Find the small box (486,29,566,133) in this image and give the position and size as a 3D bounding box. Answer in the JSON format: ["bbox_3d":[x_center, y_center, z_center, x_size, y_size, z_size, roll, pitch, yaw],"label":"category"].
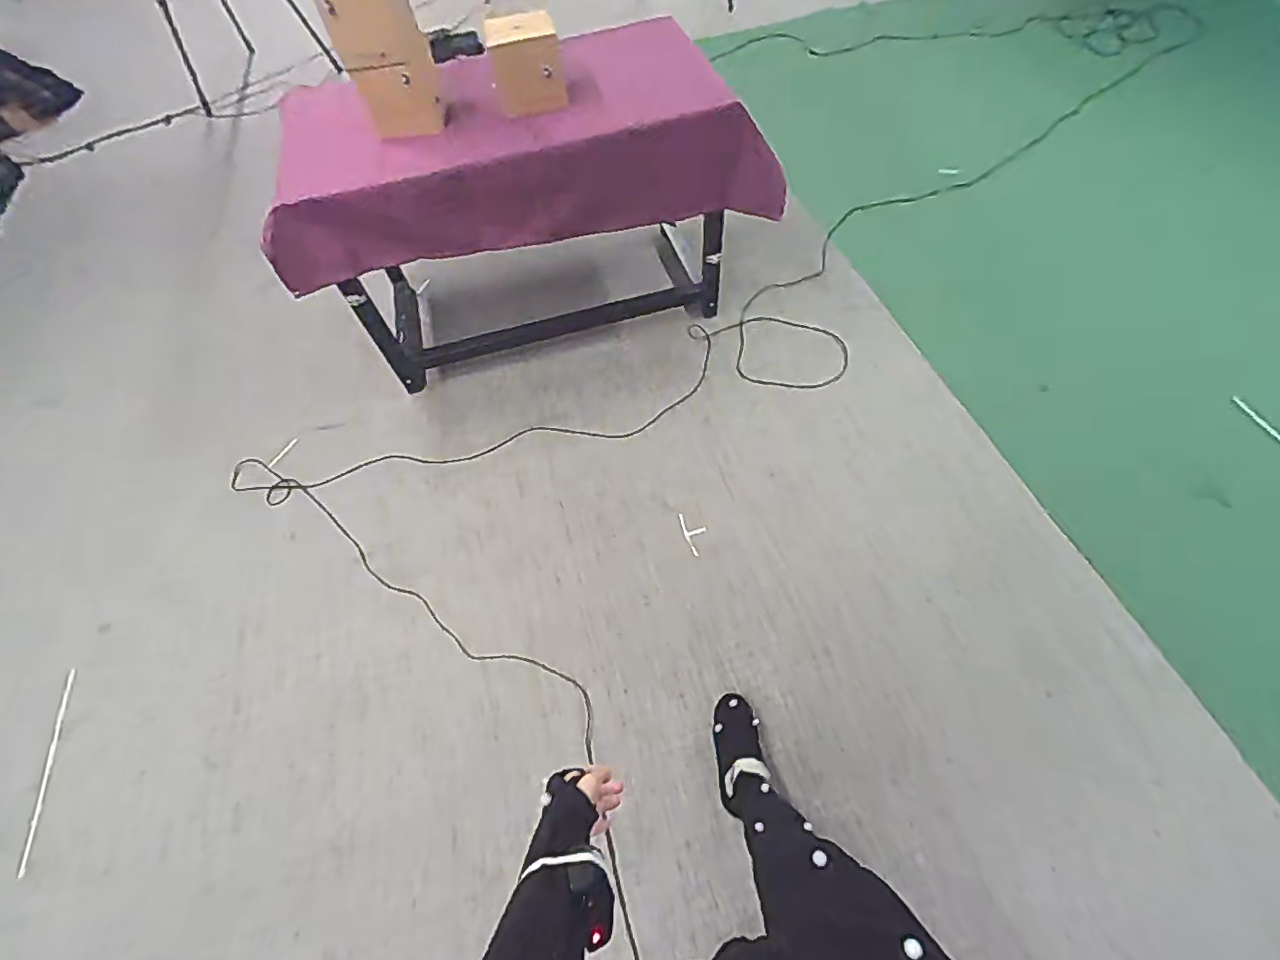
[{"bbox_3d":[-0.304,-1.081,1.469,0.179,0.176,0.168,-14,57,-3],"label":"small box"}]

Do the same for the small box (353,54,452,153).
[{"bbox_3d":[-0.628,-1.004,1.451,0.179,0.176,0.168,-6,58,1],"label":"small box"}]
